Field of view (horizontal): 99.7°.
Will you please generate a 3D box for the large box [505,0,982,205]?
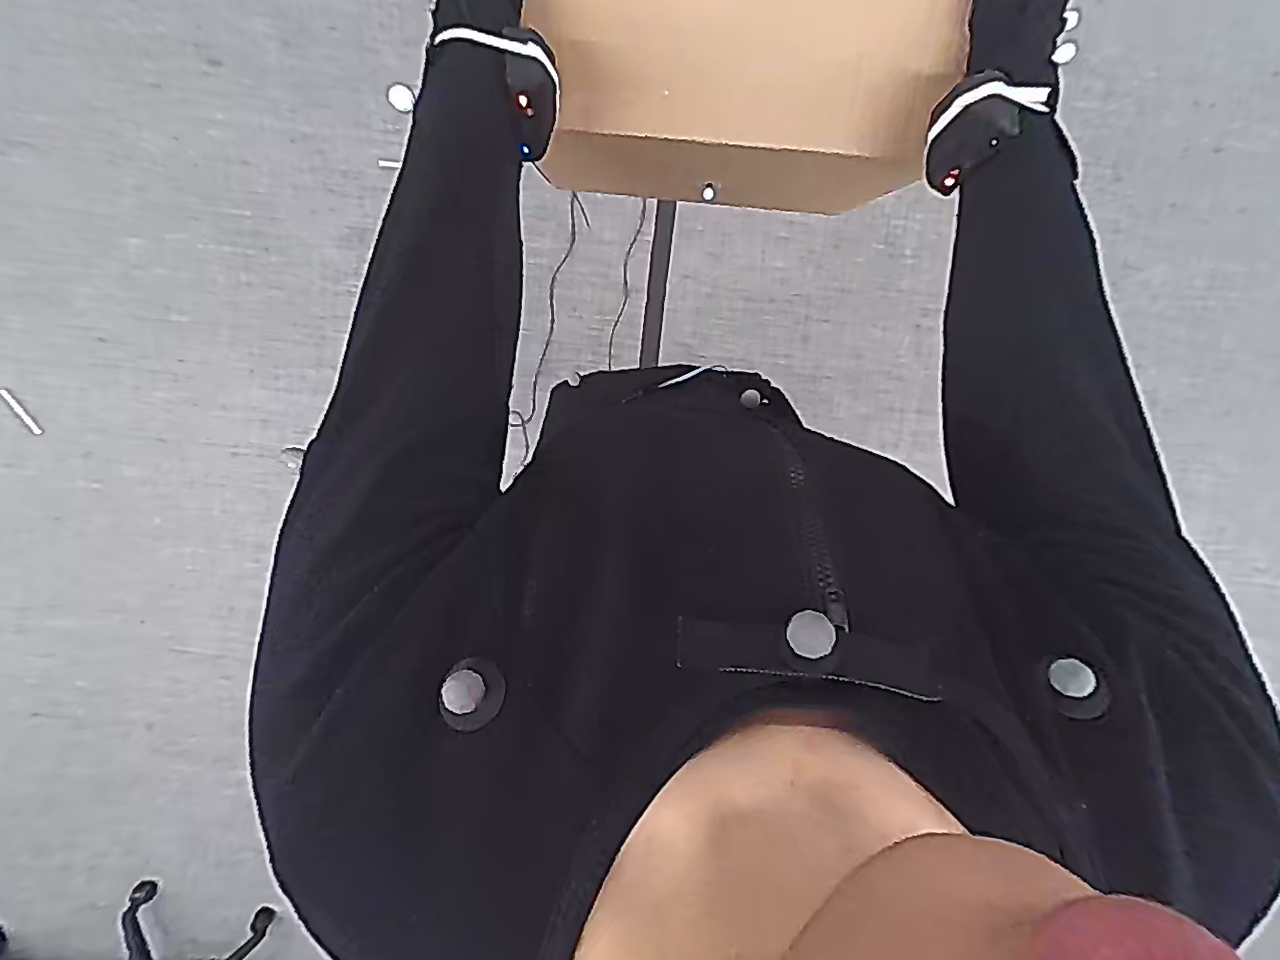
[{"bbox_3d":[0.092,-0.492,0.574,0.408,0.320,0.320,4,108,-1],"label":"large box"}]
